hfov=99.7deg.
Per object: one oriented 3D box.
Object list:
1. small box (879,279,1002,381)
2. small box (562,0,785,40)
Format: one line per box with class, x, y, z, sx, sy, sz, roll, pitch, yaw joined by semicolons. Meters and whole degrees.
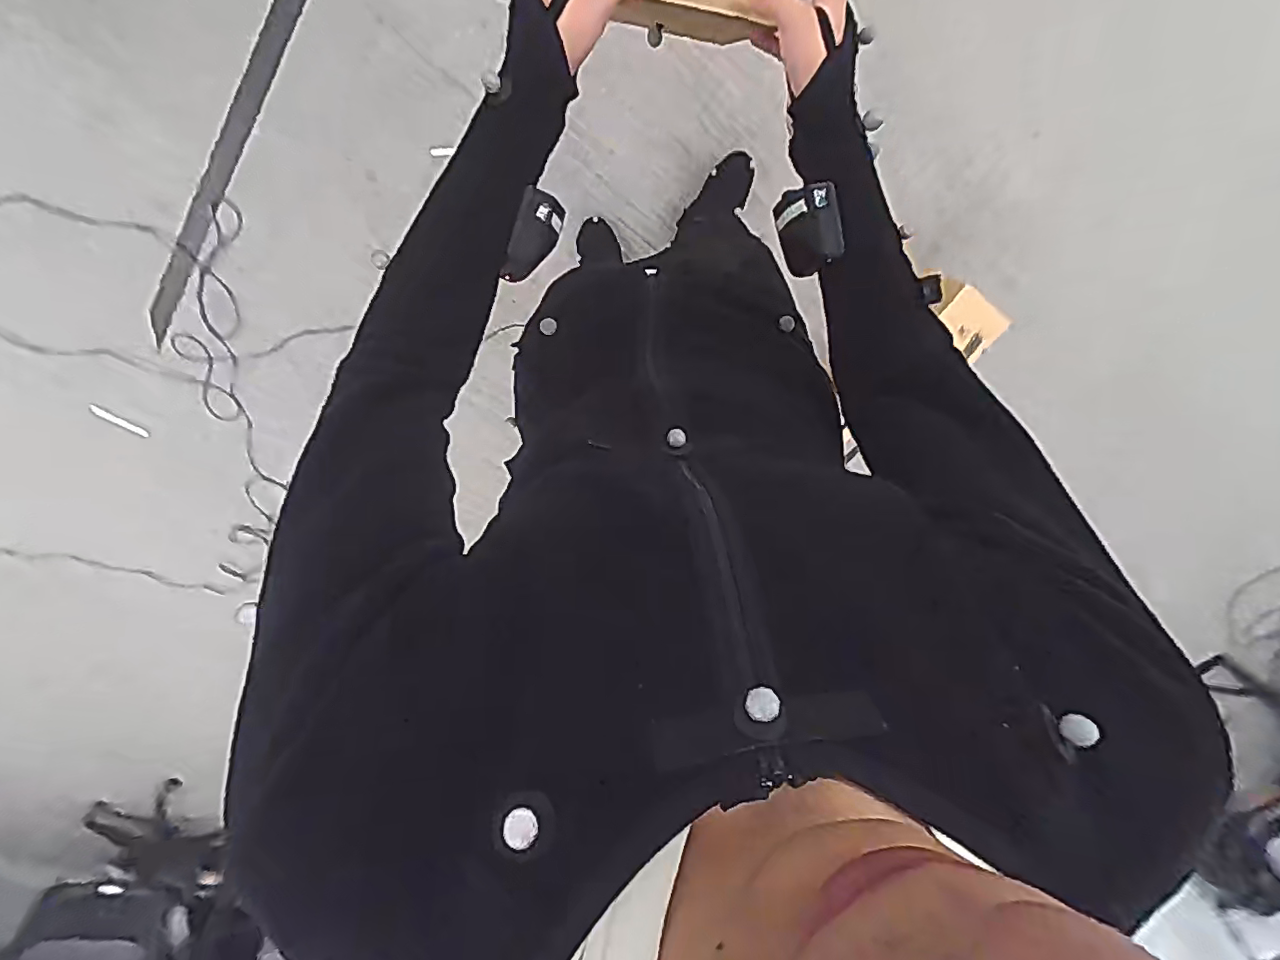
small box;0.754;-0.387;1.372;0.179;0.176;0.168;28;113;-21
small box;0.031;-0.502;0.467;0.179;0.176;0.168;-1;124;-15
